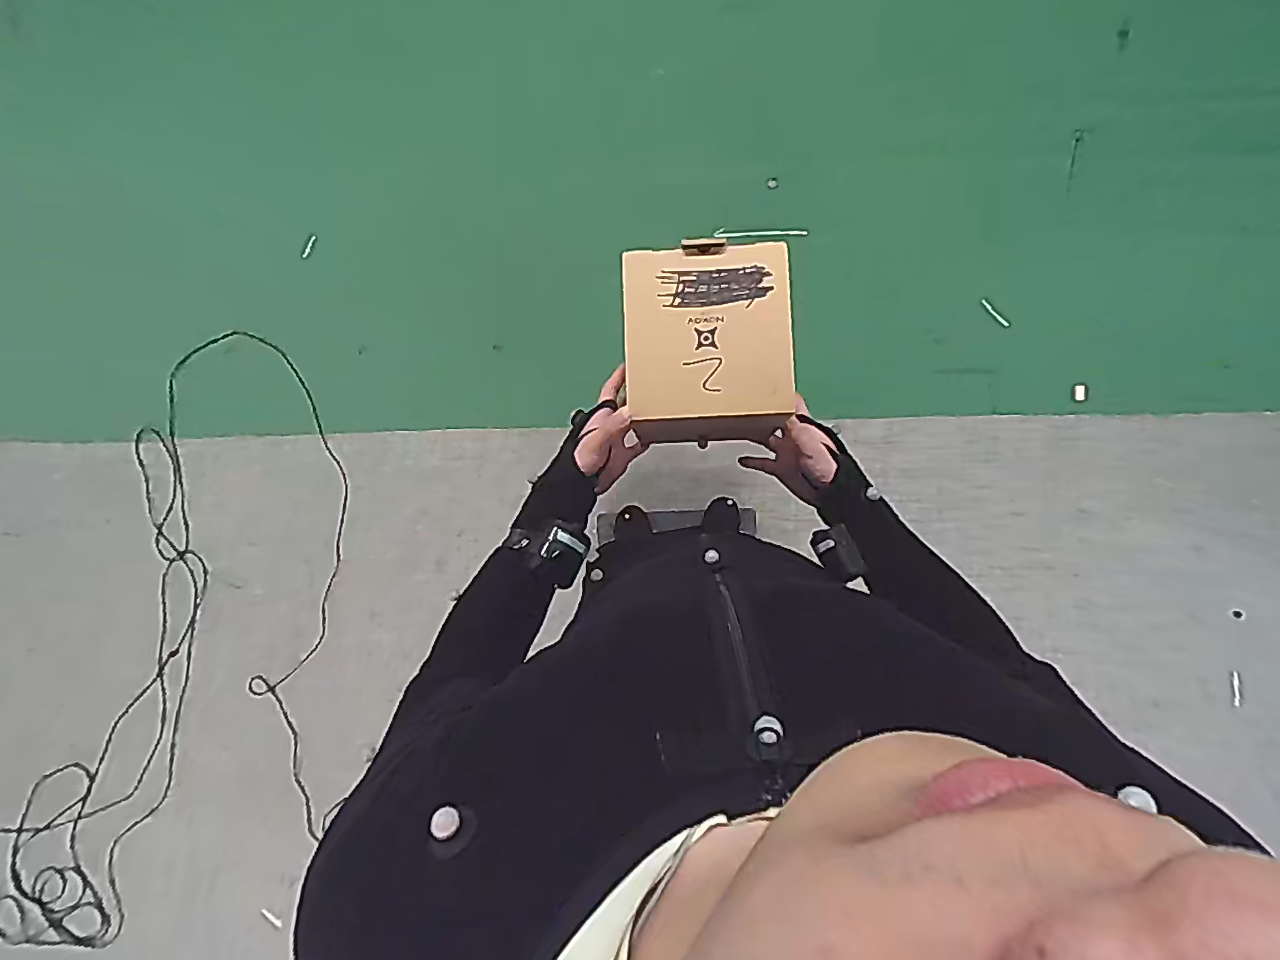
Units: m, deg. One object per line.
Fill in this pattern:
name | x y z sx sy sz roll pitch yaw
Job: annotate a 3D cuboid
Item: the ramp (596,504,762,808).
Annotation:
ramp | 0.133 0.572 1.698 0.509 0.206 0.991 -4 88 2
